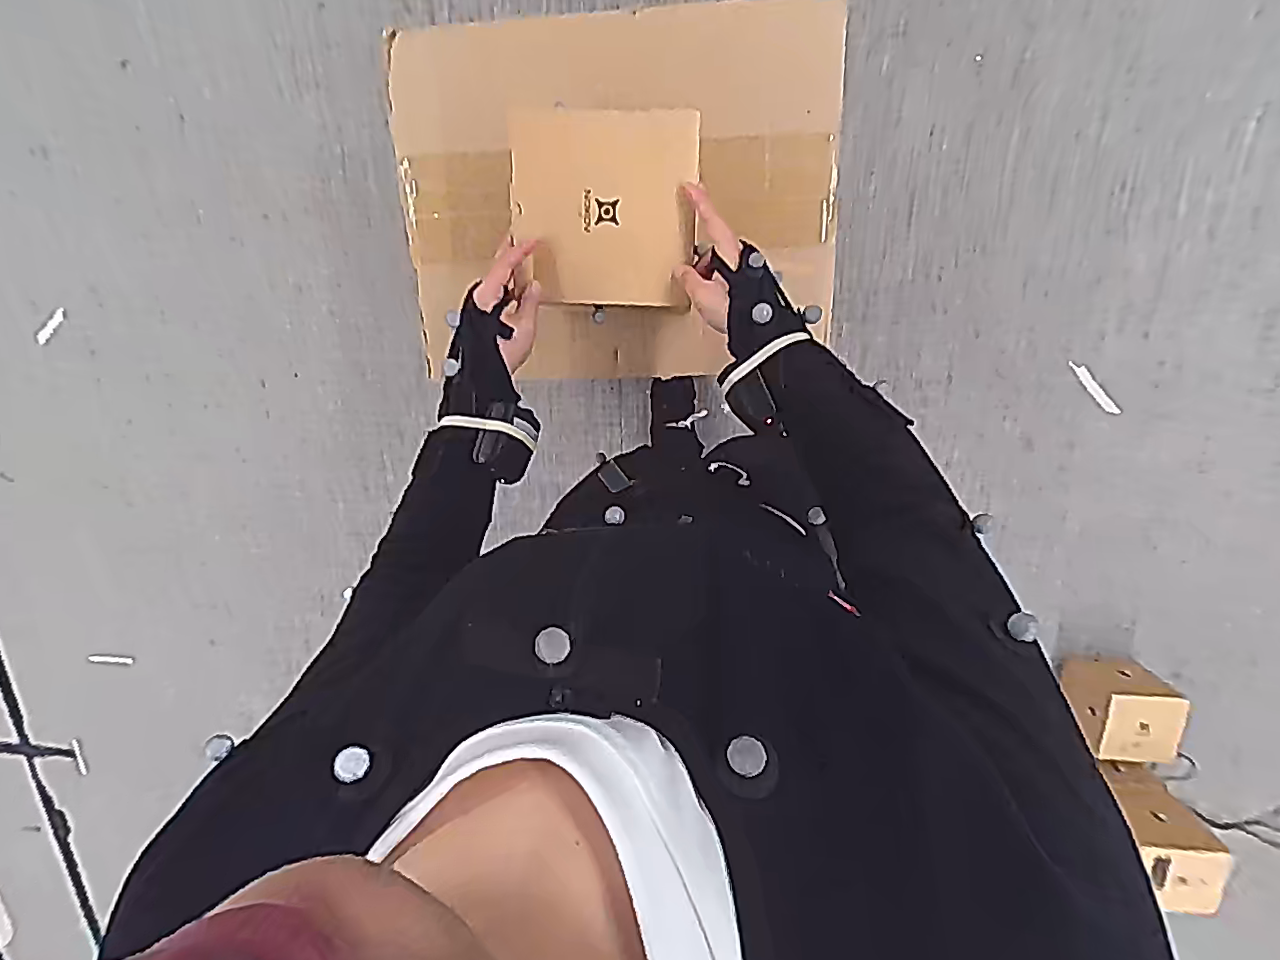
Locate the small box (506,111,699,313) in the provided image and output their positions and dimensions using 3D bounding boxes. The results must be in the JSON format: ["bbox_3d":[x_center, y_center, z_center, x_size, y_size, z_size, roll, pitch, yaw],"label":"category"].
[{"bbox_3d":[-0.030,-0.269,0.577,0.179,0.176,0.168,3,105,6],"label":"small box"}]

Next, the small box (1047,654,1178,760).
[{"bbox_3d":[1.145,0.549,1.327,0.168,0.176,0.179,2,104,5],"label":"small box"}]

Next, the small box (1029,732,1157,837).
[{"bbox_3d":[1.149,0.774,1.386,0.179,0.176,0.168,1,105,6],"label":"small box"}]
